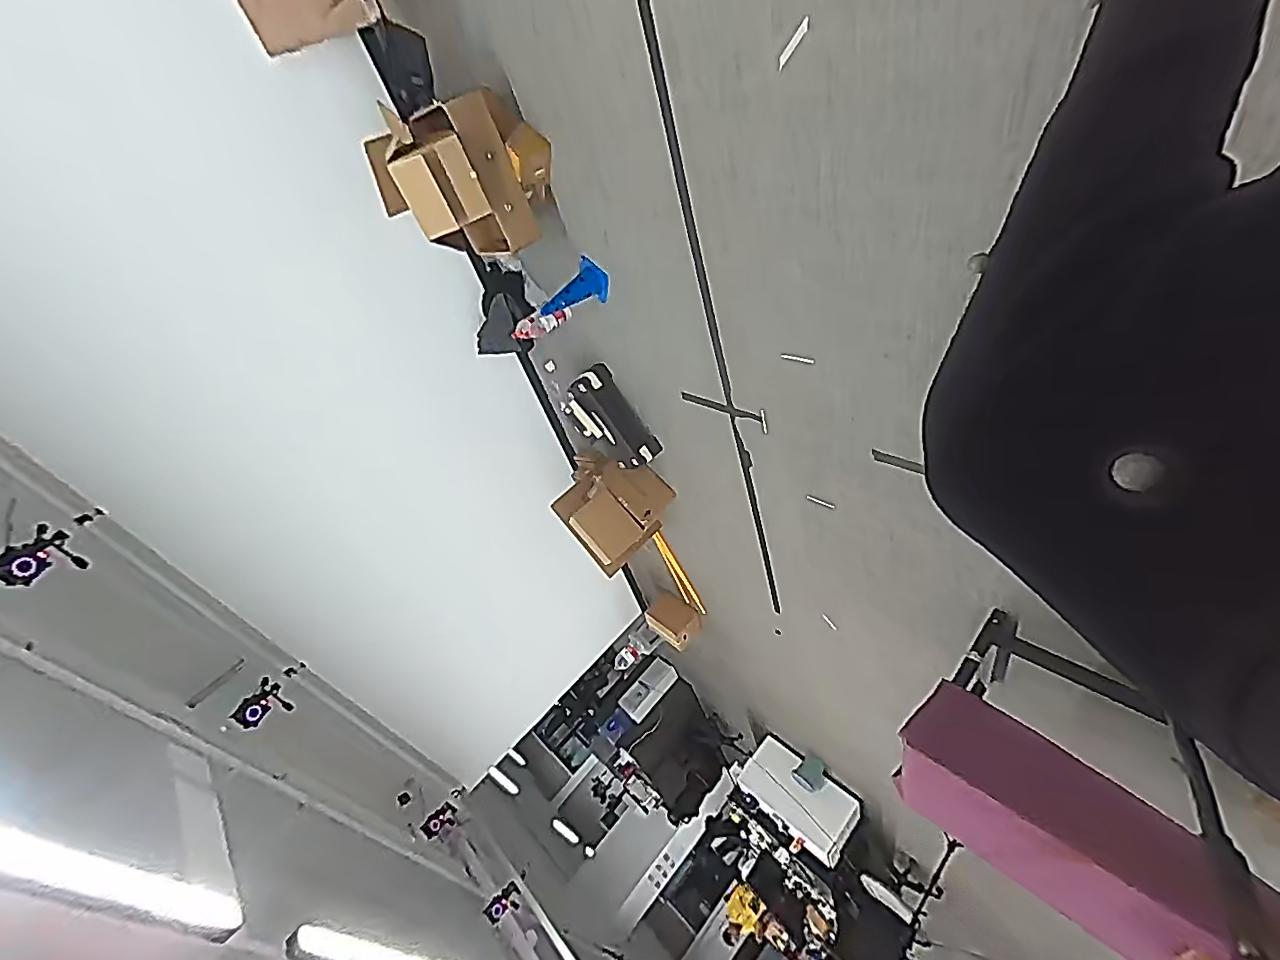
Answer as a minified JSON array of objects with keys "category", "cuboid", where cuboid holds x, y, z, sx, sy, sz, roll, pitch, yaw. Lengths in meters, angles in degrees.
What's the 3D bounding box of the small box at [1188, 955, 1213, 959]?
[{"category":"small box","cuboid":[1.592,1.458,1.476,0.168,0.176,0.179,25,147,42]}]
